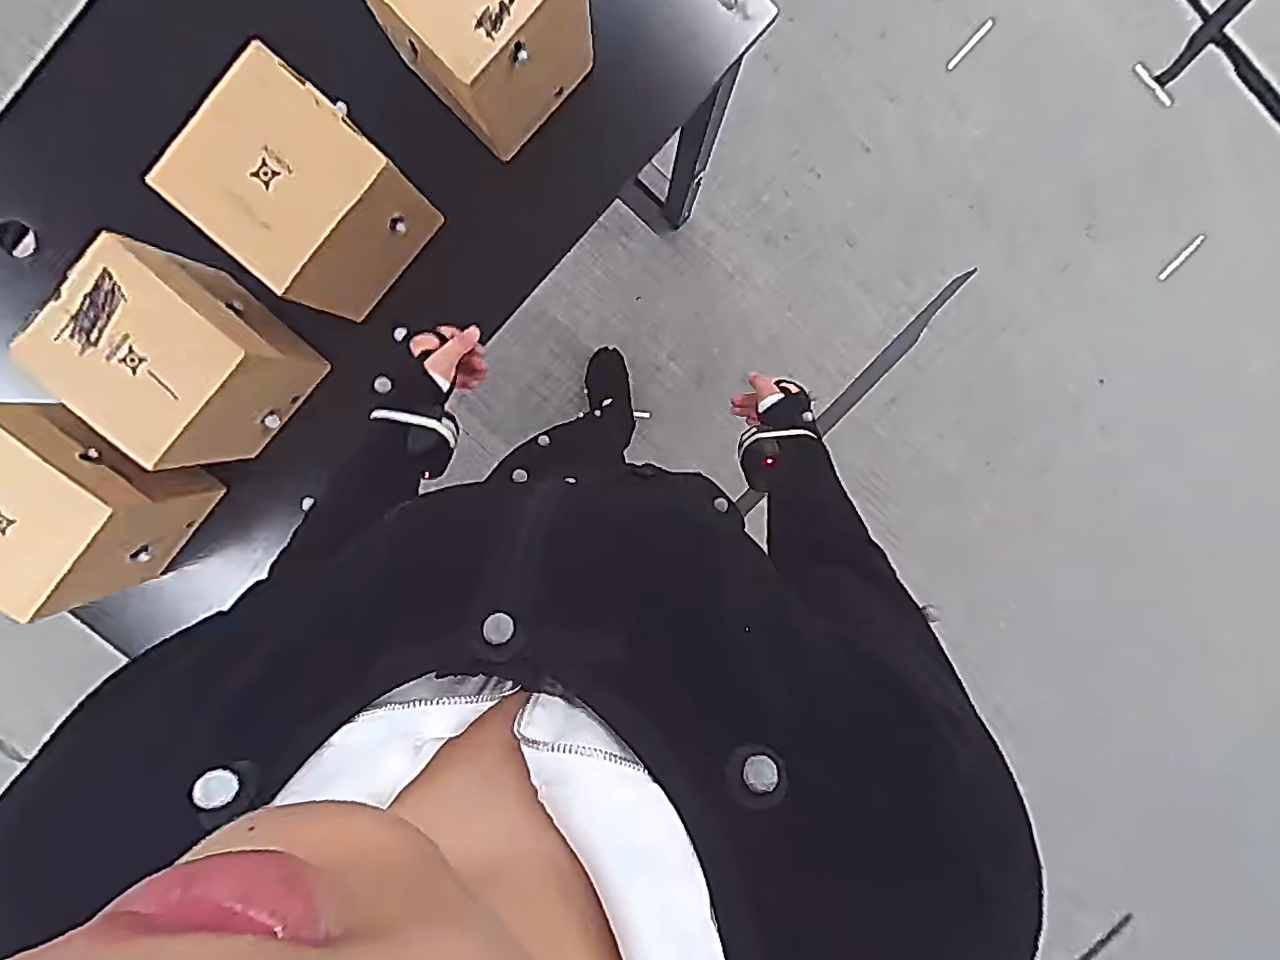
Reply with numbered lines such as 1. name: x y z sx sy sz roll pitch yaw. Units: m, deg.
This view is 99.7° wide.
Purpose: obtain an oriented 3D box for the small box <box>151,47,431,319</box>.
1. small box: -0.364 -0.309 0.608 0.168 0.176 0.179 42 95 -6

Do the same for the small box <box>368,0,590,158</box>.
1. small box: -0.173 -0.502 0.588 0.179 0.176 0.168 44 94 -6
